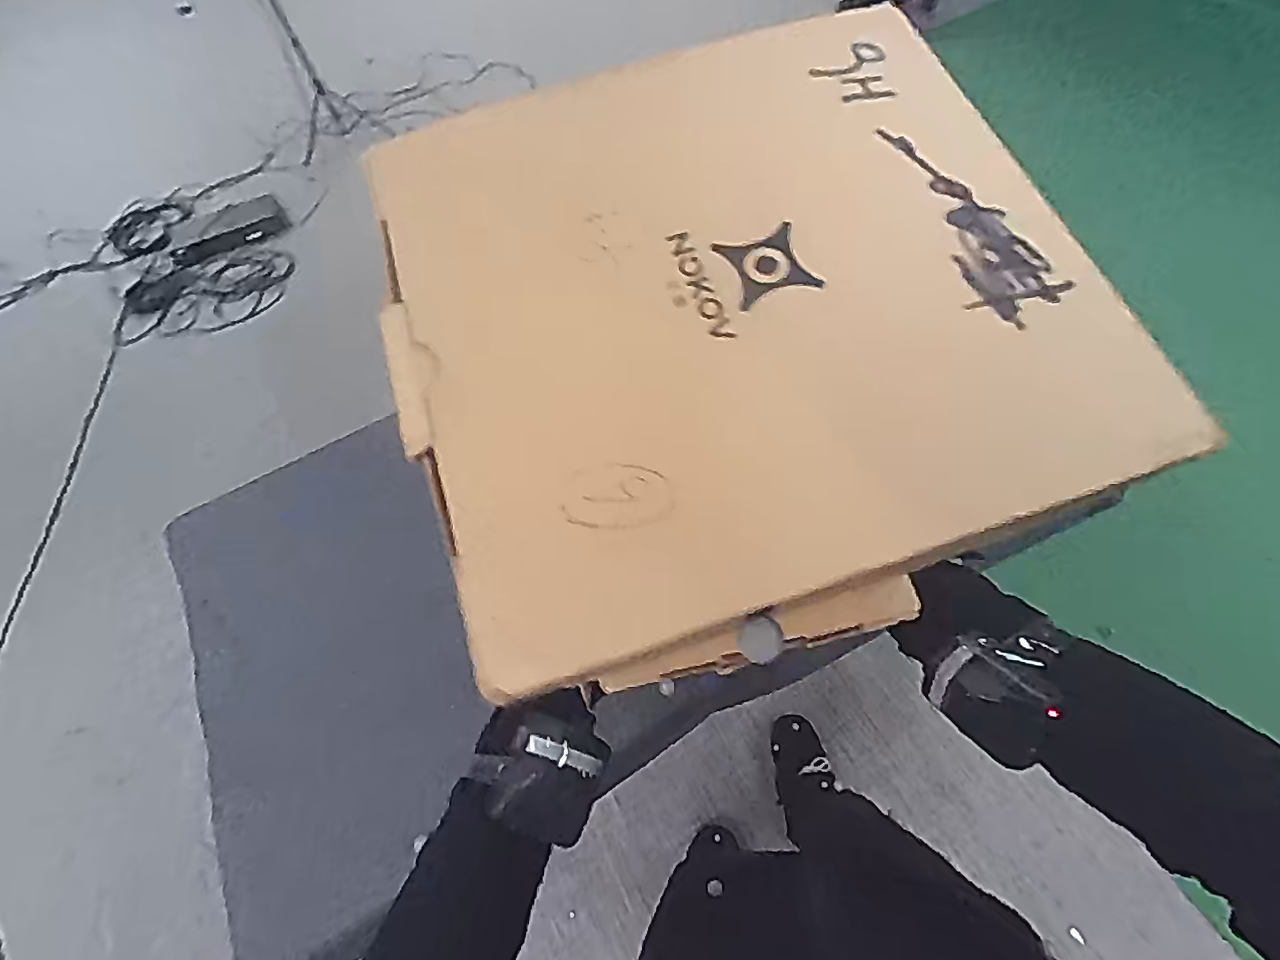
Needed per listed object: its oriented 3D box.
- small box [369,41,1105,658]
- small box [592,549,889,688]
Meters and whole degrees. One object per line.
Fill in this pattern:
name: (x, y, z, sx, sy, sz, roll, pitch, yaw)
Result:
small box: (0.020, -0.033, 0.237, 0.179, 0.176, 0.168, -21, 69, -6)
small box: (0.037, 0.031, 0.385, 0.168, 0.176, 0.179, -17, 73, -3)
